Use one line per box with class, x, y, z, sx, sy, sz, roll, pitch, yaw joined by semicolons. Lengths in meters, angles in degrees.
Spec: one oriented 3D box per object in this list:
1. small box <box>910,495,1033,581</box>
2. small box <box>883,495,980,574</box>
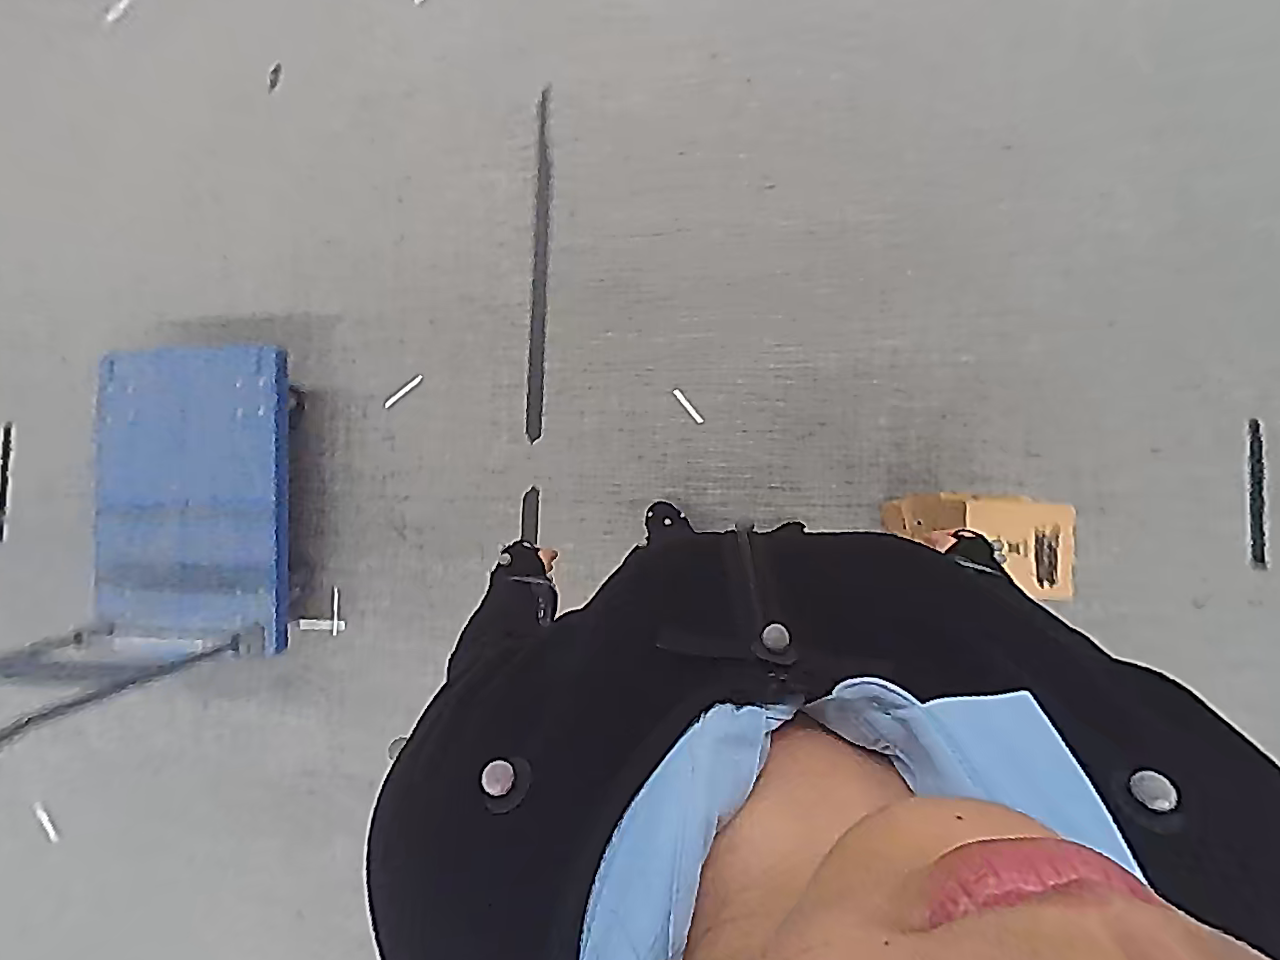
small box;0.714;0.119;1.179;0.179;0.176;0.168;2;89;8
small box;0.729;0.130;1.341;0.179;0.176;0.168;-10;87;7
